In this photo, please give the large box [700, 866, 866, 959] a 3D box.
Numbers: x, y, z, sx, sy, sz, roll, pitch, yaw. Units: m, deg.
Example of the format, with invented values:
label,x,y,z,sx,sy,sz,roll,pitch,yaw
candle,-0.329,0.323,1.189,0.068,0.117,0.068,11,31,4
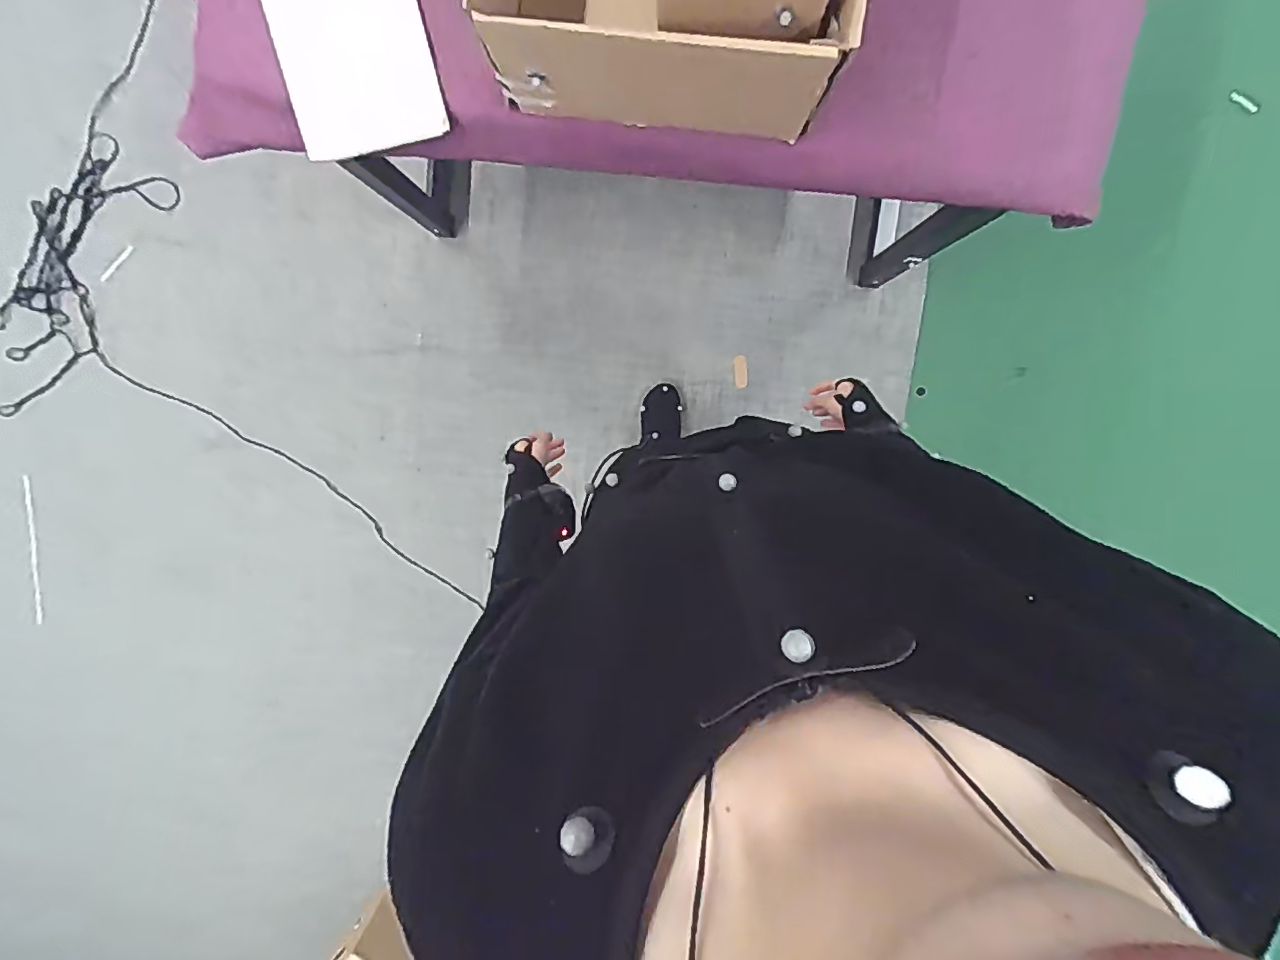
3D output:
label,x,y,z,sx,sy,sz,roll,pitch,yaw
large box,0.399,1.367,1.521,0.408,0.320,0.320,-8,98,2
